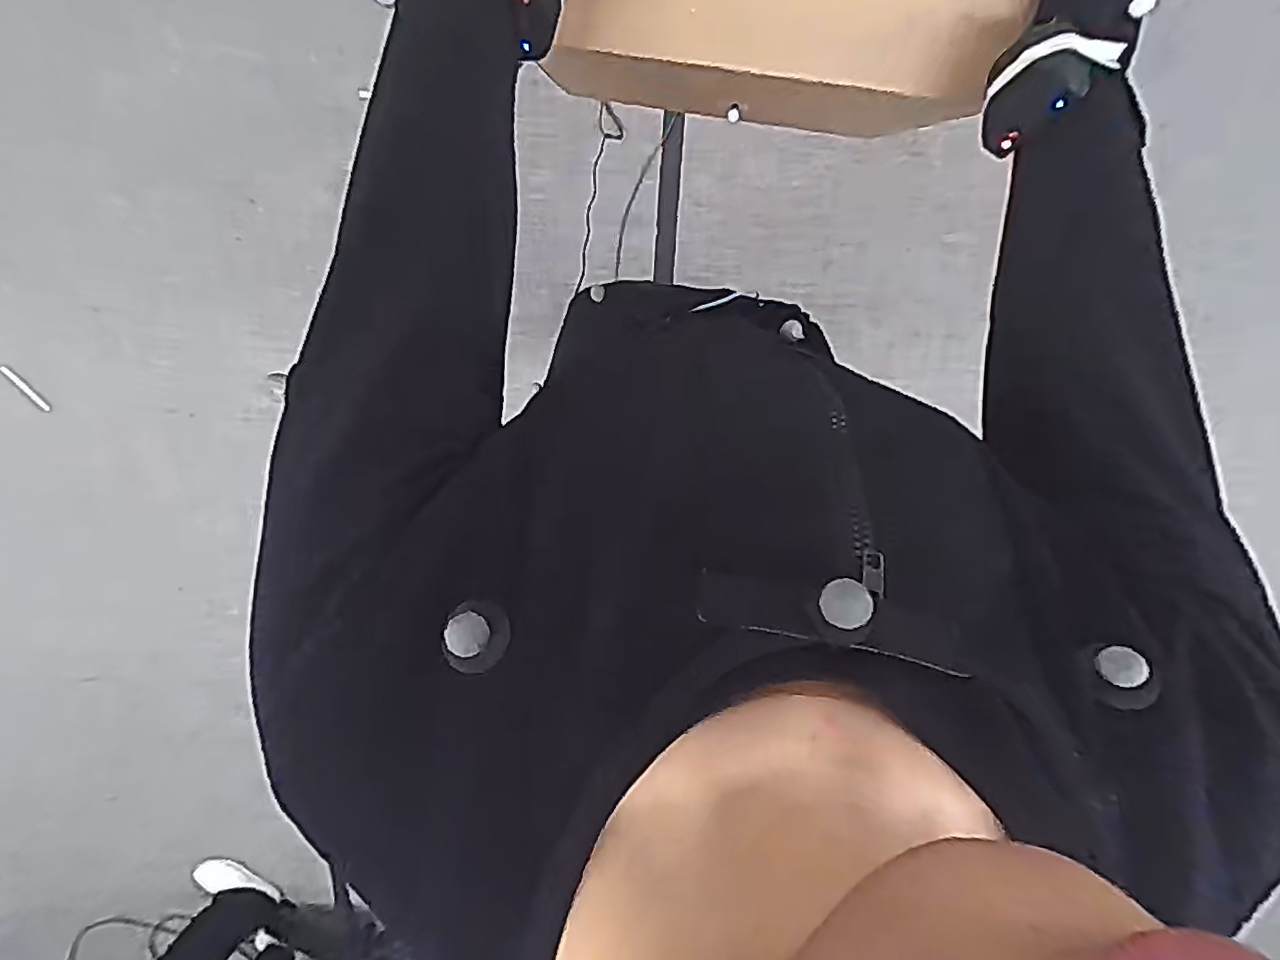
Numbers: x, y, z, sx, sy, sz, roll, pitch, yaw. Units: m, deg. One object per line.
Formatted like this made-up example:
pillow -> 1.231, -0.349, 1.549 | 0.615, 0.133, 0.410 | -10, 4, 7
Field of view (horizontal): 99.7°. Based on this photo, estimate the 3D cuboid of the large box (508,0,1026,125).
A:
large box -> 0.116, -0.539, 0.494 | 0.408, 0.320, 0.320 | 7, 117, -1
